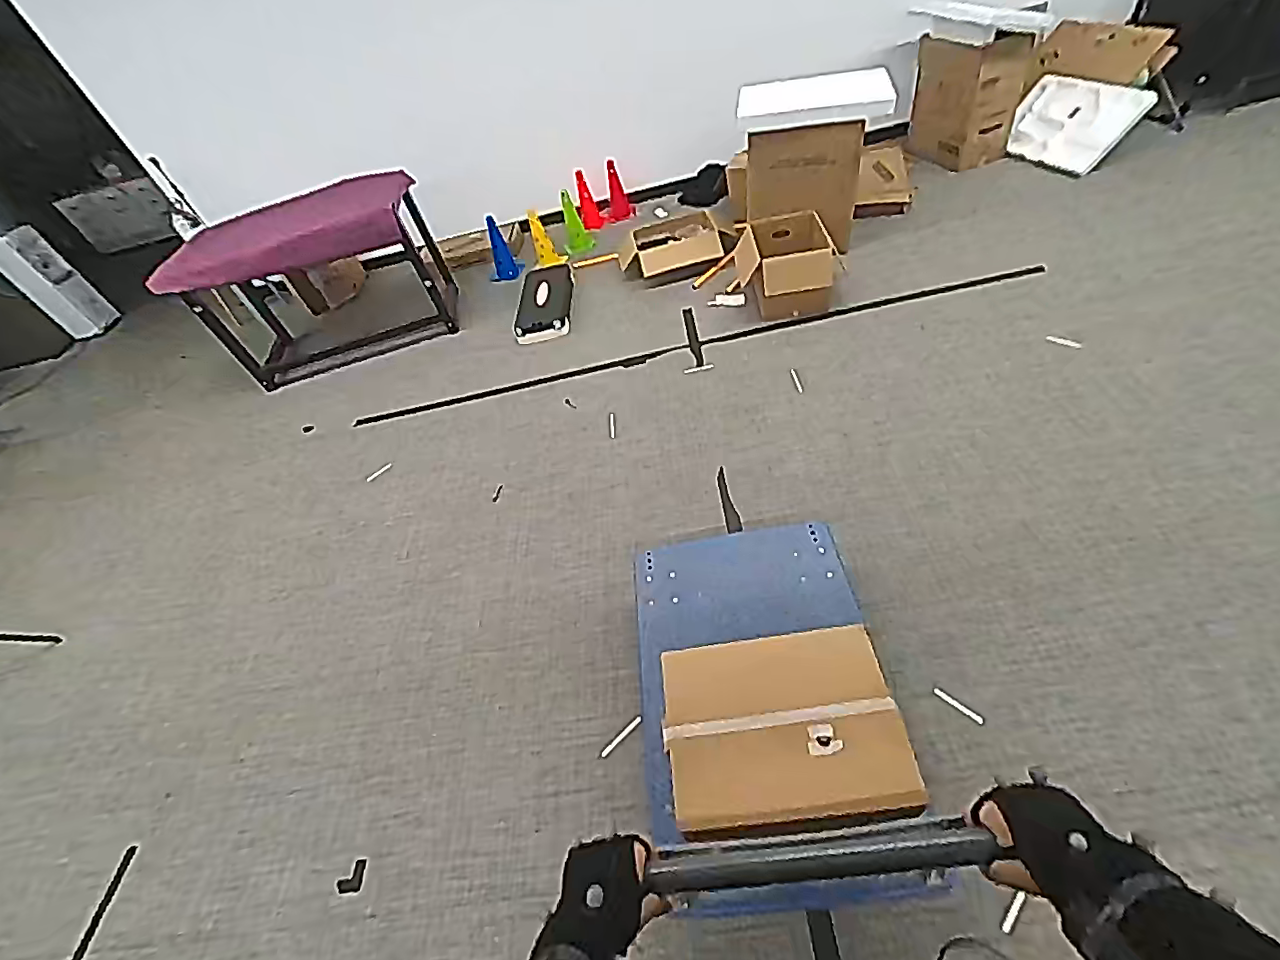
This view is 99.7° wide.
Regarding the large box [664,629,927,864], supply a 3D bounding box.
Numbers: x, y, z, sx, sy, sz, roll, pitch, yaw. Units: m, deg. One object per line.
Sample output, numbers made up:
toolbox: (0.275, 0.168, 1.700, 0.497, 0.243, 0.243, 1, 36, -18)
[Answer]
large box: (0.280, 0.540, 1.085, 0.408, 0.320, 0.320, -10, 48, 5)
